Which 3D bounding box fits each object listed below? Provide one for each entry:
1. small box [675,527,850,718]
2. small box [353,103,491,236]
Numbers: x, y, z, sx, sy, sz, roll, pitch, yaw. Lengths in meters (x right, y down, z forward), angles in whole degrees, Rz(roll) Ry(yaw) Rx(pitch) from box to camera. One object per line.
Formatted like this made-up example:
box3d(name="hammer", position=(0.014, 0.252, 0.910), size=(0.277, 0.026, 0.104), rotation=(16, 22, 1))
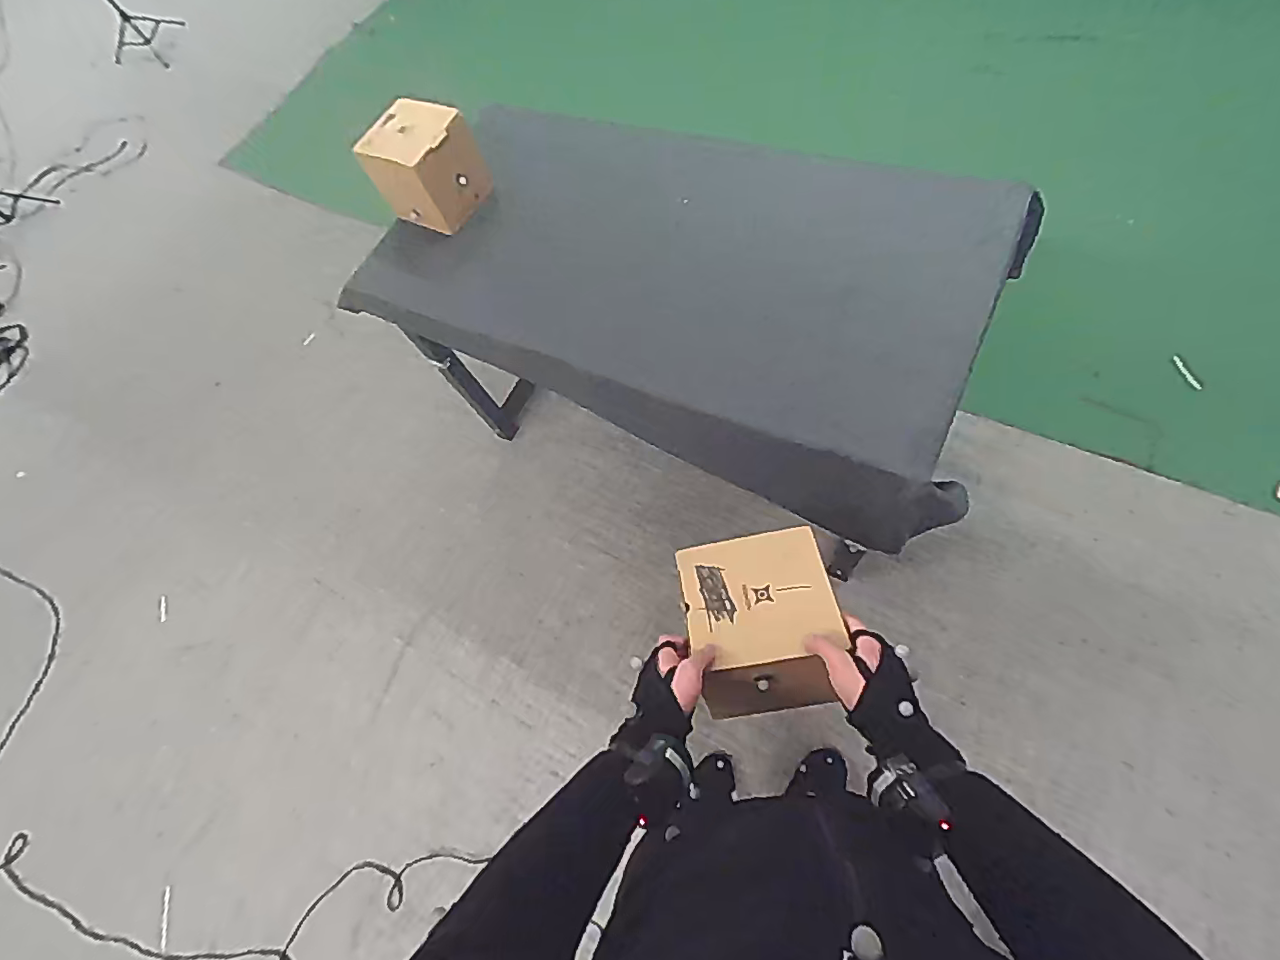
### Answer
box3d(name="small box", position=(0.152, 0.187, 0.688), size=(0.179, 0.176, 0.168), rotation=(-12, 48, 7))
box3d(name="small box", position=(-0.450, -0.652, 1.149), size=(0.179, 0.176, 0.168), rotation=(25, 74, 19))
